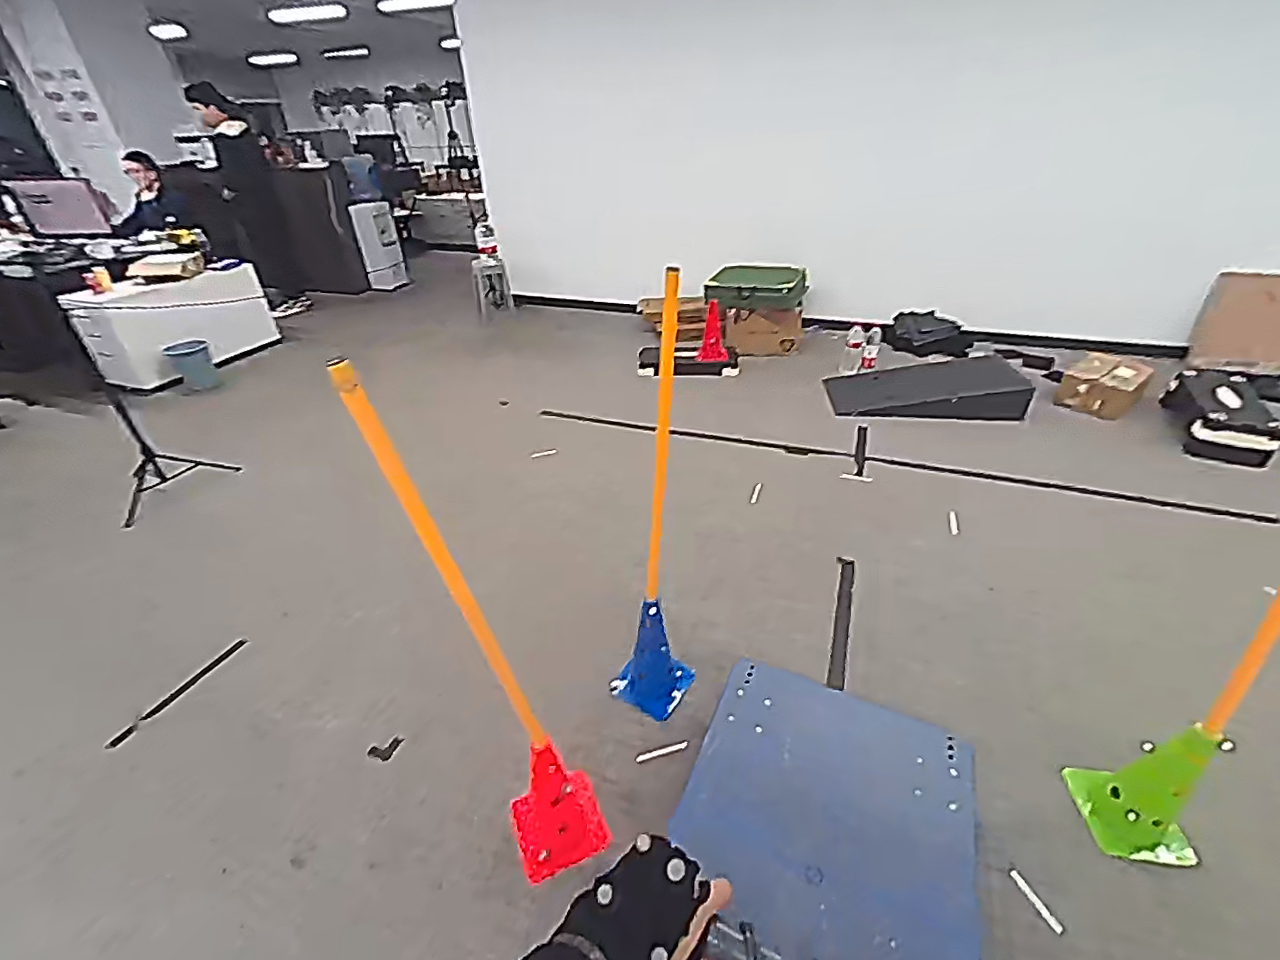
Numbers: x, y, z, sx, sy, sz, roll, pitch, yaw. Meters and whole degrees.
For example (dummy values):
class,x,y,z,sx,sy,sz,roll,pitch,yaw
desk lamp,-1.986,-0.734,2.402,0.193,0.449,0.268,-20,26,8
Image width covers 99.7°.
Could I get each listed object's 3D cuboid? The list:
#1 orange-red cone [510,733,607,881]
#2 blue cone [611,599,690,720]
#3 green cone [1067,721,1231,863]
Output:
class,x,y,z,sx,sy,sz,roll,pitch,yaw
orange-red cone,-0.199,0.674,1.194,0.199,0.360,0.198,-14,36,-20
blue cone,0.029,0.470,1.515,0.193,0.380,0.192,21,41,30
green cone,1.149,0.639,1.177,0.200,0.368,0.202,2,35,7
